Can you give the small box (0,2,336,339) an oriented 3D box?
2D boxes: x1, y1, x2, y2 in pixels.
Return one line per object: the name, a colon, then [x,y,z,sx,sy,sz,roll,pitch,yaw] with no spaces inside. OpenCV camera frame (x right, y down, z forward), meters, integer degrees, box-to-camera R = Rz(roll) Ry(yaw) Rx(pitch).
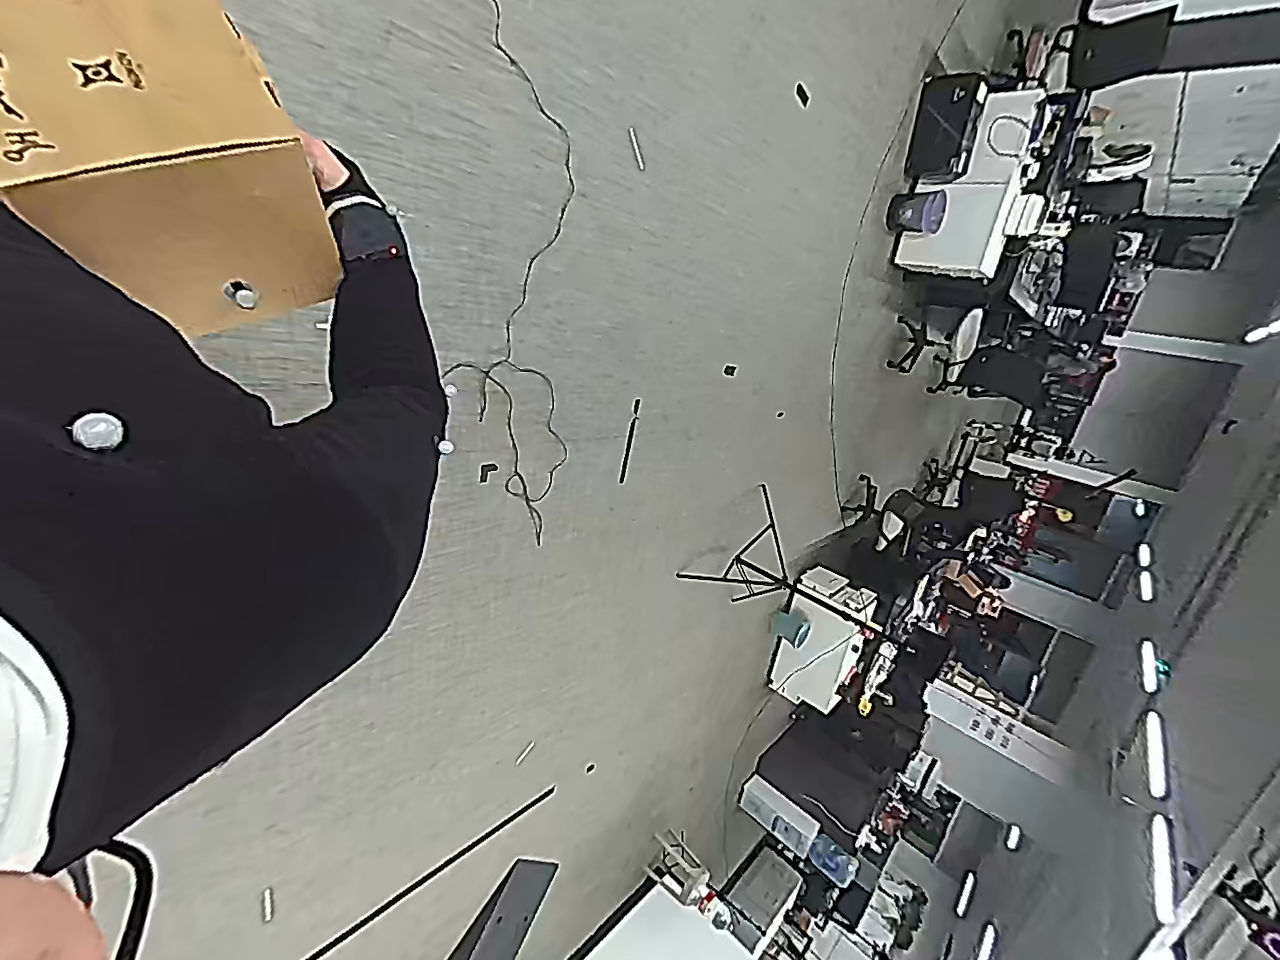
small box: [-0.384,-0.252,0.459,0.179,0.168,0.176,-28,168,-25]
